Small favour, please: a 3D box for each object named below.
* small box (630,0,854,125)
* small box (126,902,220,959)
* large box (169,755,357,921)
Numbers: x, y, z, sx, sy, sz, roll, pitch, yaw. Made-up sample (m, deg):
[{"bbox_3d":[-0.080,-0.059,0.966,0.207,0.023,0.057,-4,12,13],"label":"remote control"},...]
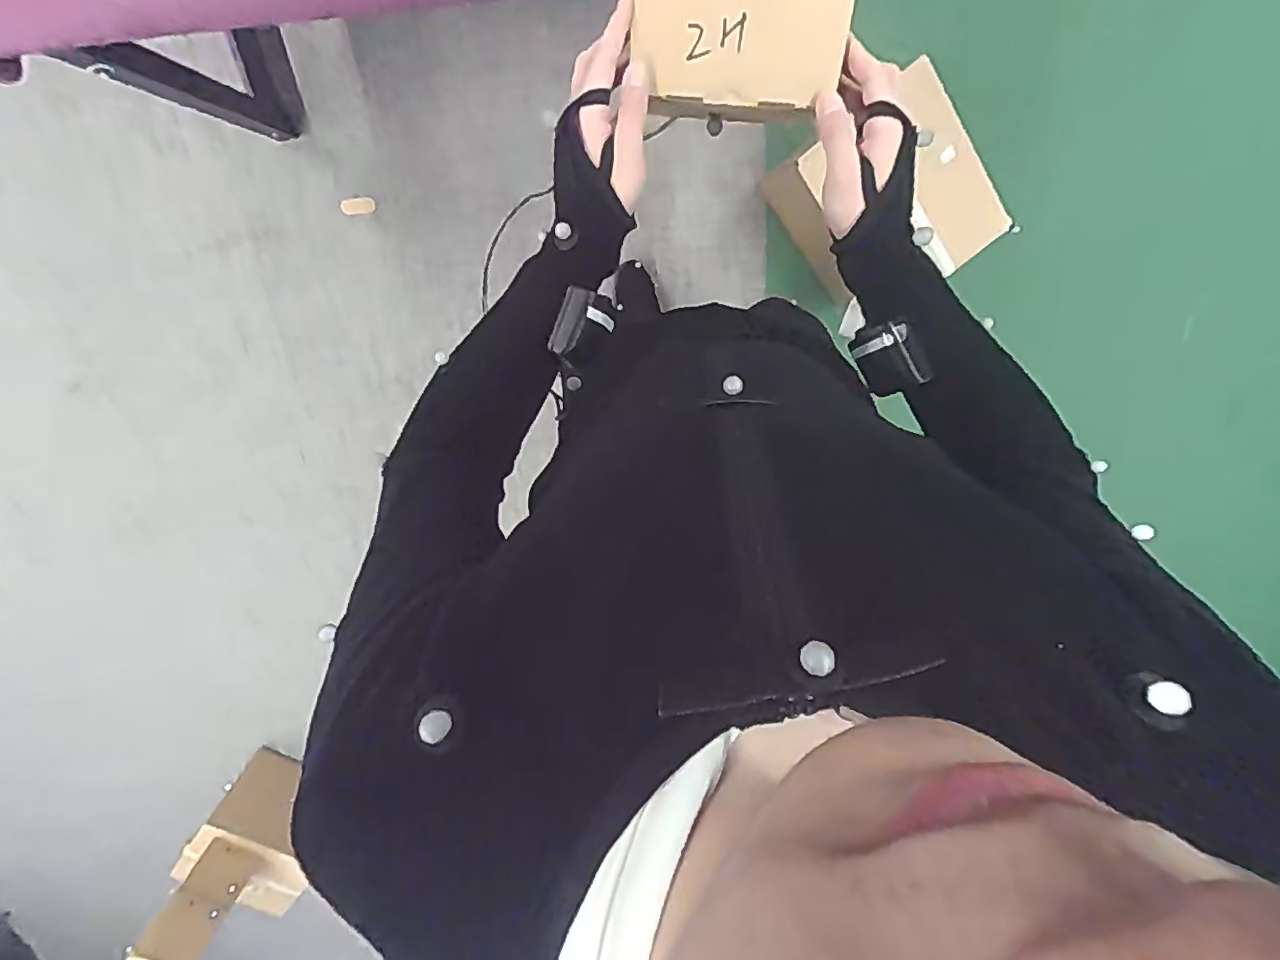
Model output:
[{"bbox_3d":[0.080,-0.415,0.457,0.168,0.176,0.179,4,121,1],"label":"small box"},{"bbox_3d":[-1.355,1.359,1.542,0.168,0.176,0.179,37,106,-15],"label":"small box"},{"bbox_3d":[-1.337,1.282,1.953,0.408,0.320,0.320,35,107,-15],"label":"large box"}]
